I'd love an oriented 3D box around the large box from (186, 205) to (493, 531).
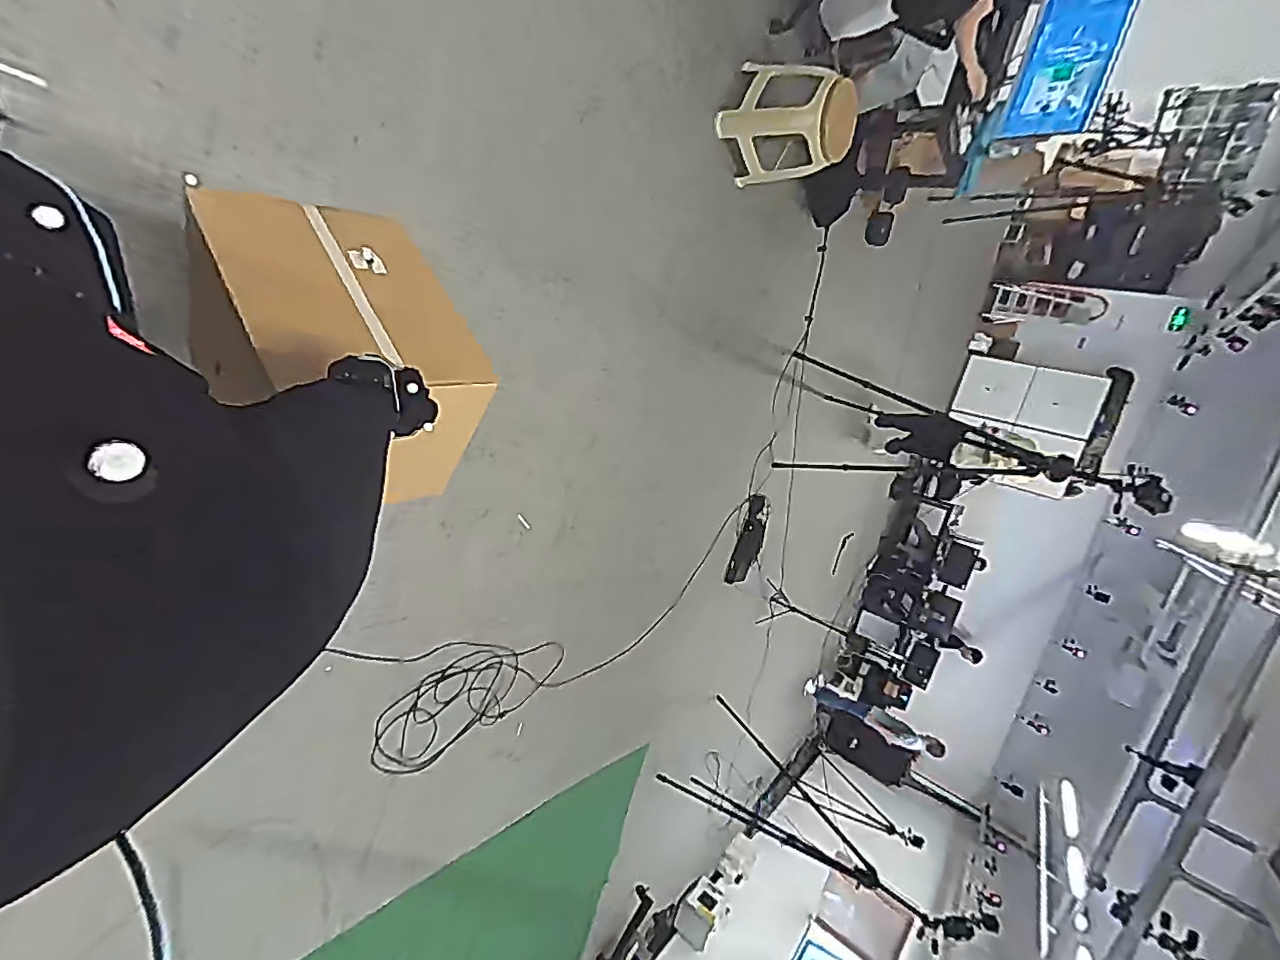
[{"bbox_3d":[-0.519,-0.186,0.922,0.320,0.408,0.320,-14,152,-46],"label":"large box"}]
